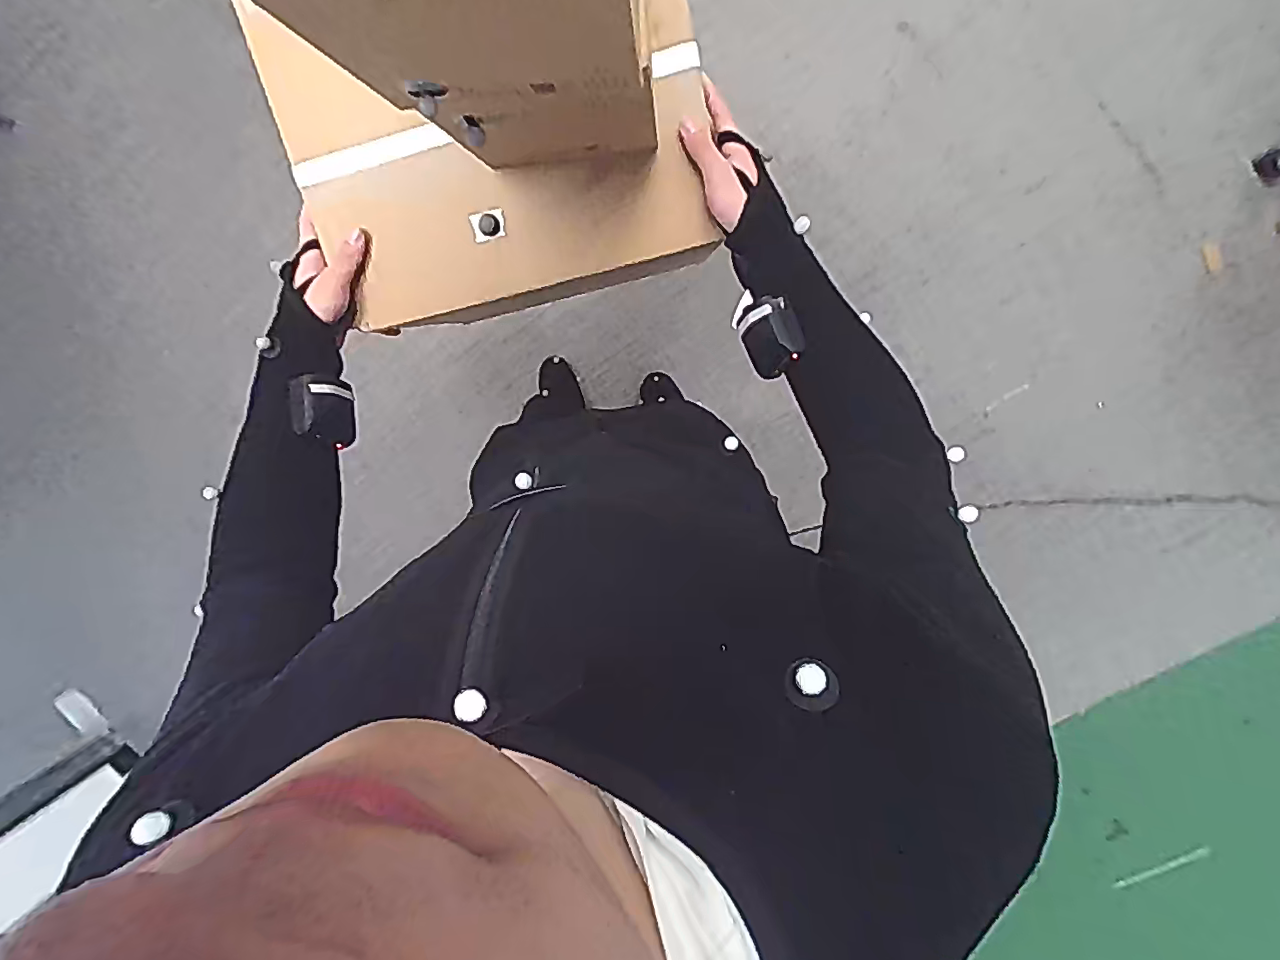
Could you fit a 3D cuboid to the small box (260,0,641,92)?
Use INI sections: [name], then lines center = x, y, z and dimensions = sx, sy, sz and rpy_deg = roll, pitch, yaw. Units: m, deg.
[small box]
center = -0.088, -0.302, 0.243
dimensions = 0.168, 0.176, 0.179
rpy_deg = -1, 107, 4
